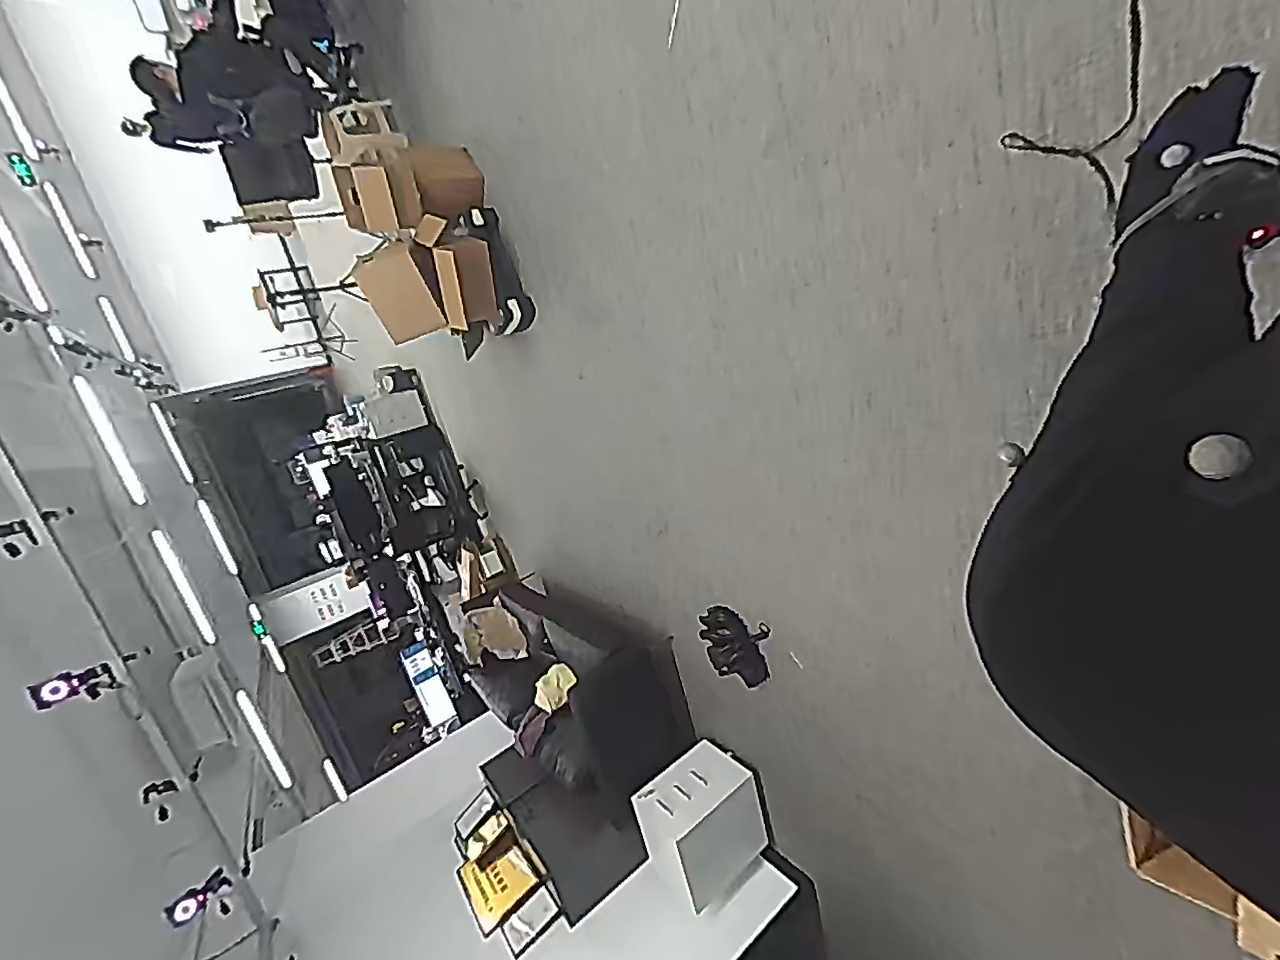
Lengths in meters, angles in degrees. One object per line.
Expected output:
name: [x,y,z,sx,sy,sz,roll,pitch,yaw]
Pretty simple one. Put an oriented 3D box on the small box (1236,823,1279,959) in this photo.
small box: [1.203,0.768,0.964,0.168,0.176,0.179,6,115,56]
